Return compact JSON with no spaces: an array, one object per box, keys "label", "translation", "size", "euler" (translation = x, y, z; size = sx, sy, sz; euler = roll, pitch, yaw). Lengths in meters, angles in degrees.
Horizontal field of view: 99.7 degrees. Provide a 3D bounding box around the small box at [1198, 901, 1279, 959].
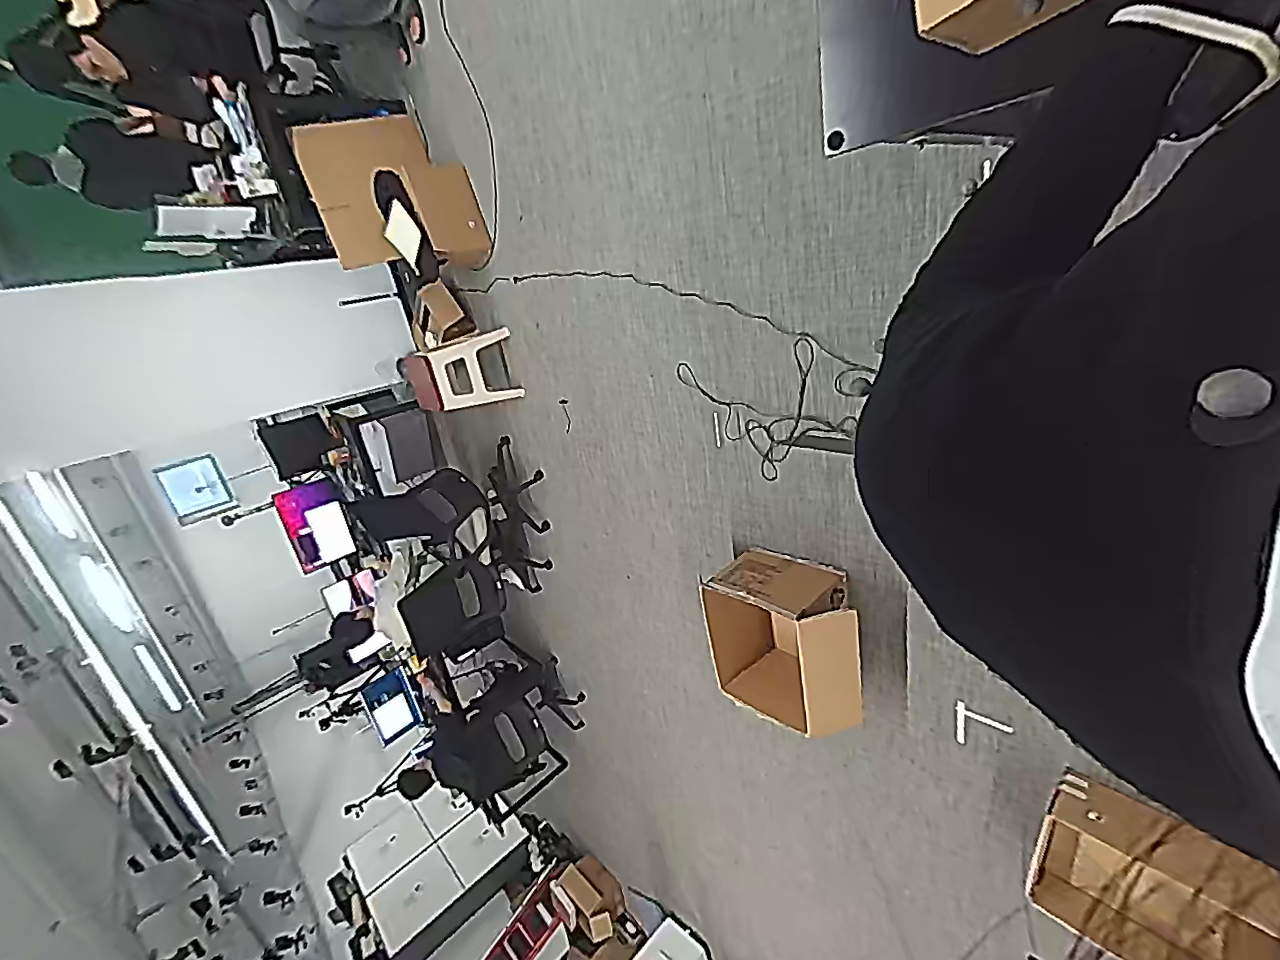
[{"label":"small box","translation":[1.472,1.171,1.285],"size":[0.179,0.176,0.168],"euler":[19,123,45]}]
